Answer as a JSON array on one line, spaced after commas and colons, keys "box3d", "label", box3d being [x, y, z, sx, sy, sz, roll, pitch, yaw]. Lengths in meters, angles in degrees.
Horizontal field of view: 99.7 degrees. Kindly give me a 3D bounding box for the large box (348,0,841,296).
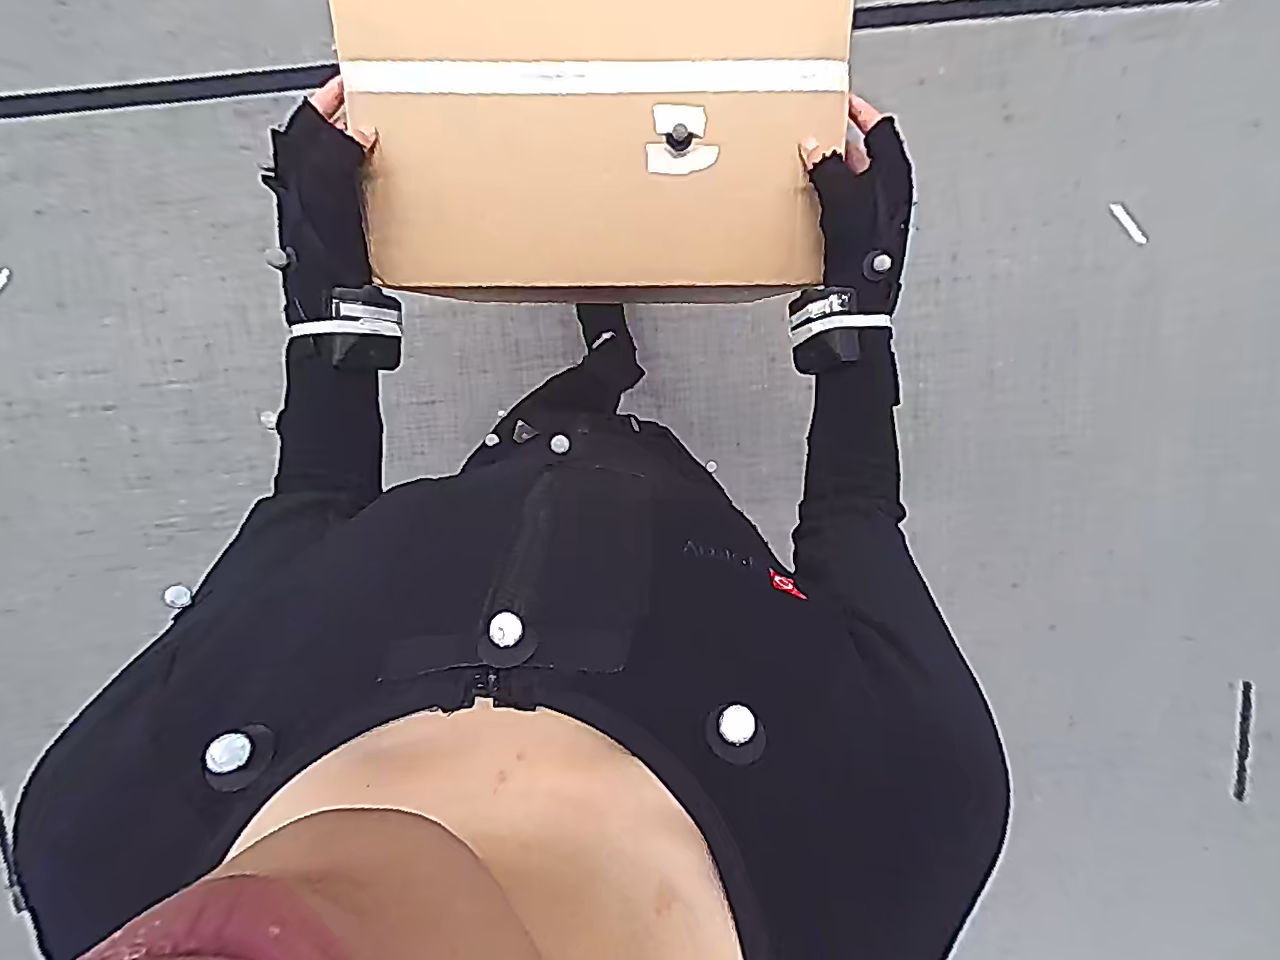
[{"box3d": [-0.040, -0.378, 0.590, 0.408, 0.320, 0.320, -1, 106, -1], "label": "large box"}]
